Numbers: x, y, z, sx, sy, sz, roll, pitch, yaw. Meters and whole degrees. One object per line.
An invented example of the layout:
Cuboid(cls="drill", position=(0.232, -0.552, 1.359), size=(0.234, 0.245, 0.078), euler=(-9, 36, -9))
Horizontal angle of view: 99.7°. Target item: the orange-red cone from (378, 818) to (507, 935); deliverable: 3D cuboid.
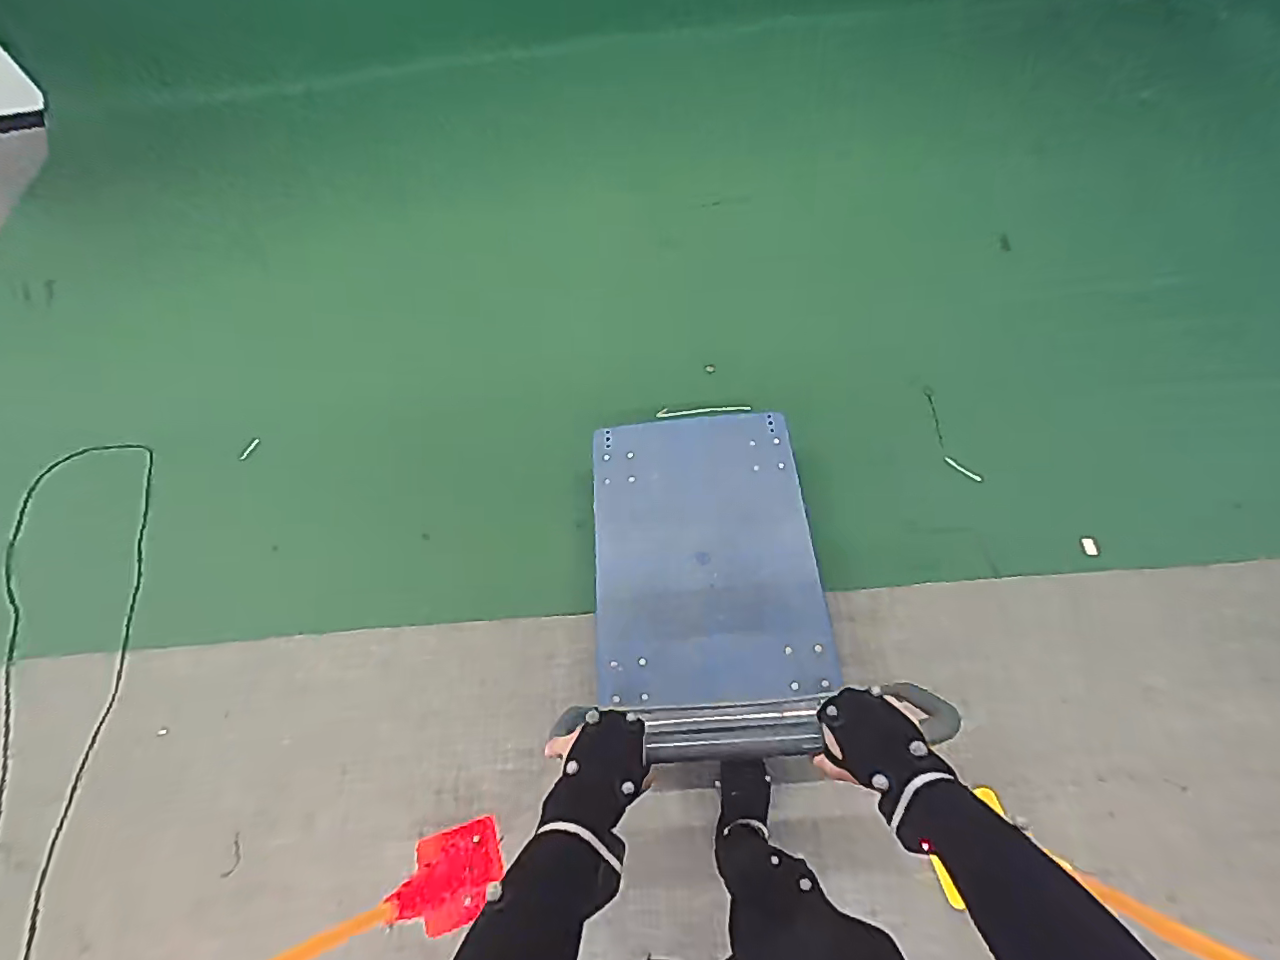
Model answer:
Cuboid(cls="orange-red cone", position=(-0.443, 0.864, 1.138), size=(0.199, 0.360, 0.198), euler=(-19, 62, -2))
